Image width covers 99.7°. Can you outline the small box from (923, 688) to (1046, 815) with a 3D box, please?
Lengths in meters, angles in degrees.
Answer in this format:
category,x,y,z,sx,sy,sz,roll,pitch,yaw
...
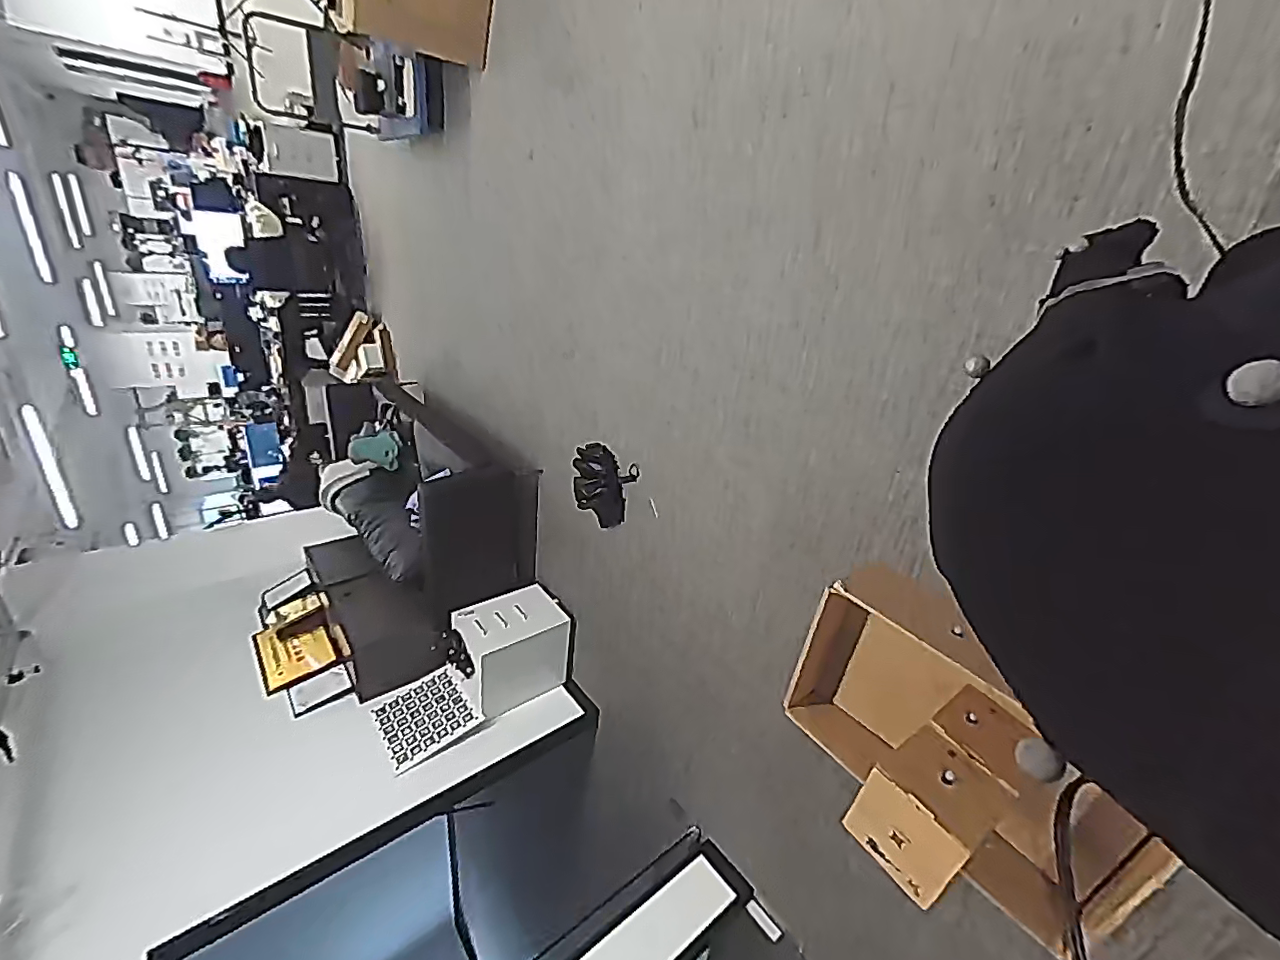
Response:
category,x,y,z,sx,sy,sz,roll,pitch,yaw
small box,0.627,0.533,1.025,0.168,0.176,0.179,39,132,42

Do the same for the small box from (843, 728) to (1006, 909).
category,x,y,z,sx,sy,sz,roll,pitch,yaw
small box,0.493,0.572,0.936,0.168,0.176,0.179,39,129,42
